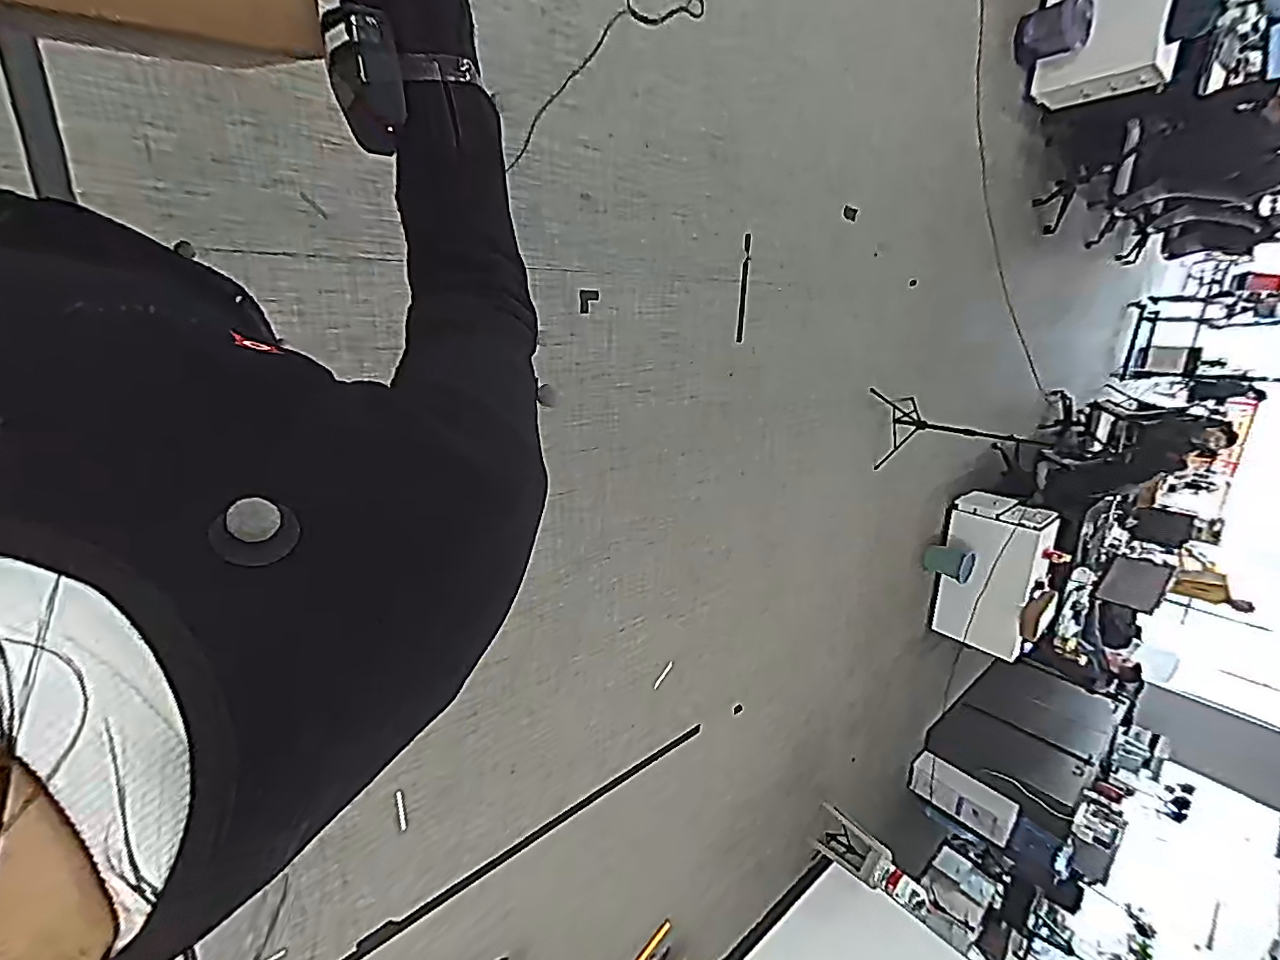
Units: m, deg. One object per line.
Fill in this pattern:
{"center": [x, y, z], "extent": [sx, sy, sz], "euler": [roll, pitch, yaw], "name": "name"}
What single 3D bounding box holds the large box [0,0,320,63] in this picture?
{"center": [-0.430, -0.408, 0.236], "extent": [0.408, 0.320, 0.320], "euler": [-19, 131, -35], "name": "large box"}
